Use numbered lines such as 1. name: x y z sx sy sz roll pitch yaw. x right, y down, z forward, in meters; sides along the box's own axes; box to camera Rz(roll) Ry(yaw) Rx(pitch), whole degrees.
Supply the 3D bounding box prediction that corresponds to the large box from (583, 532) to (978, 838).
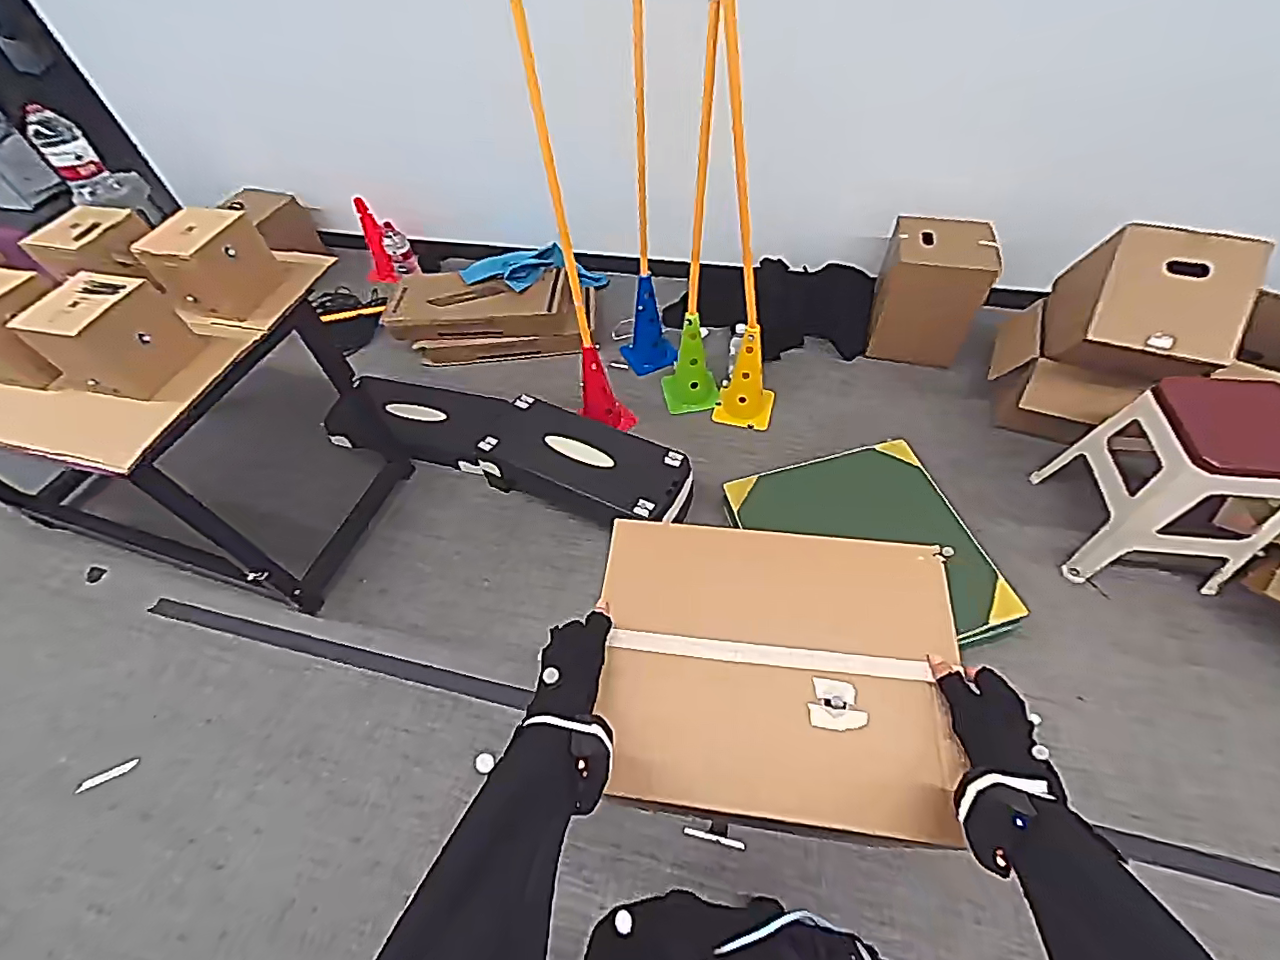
1. large box: 0.157 0.290 0.749 0.408 0.320 0.320 4 58 6
